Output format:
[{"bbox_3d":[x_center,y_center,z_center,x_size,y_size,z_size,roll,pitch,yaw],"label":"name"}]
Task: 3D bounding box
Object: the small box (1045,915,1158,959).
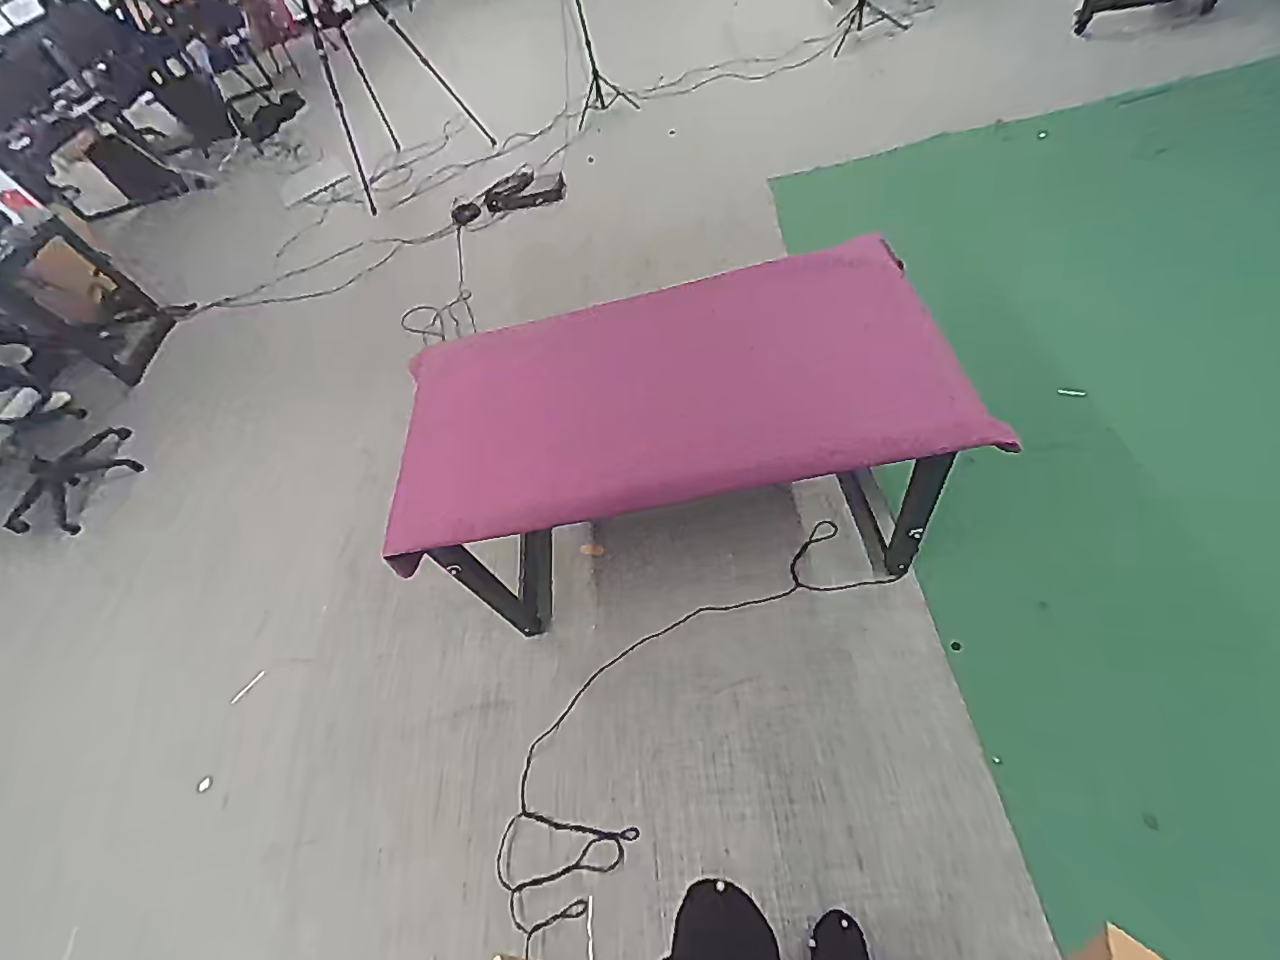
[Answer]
[{"bbox_3d":[0.520,0.631,0.562,0.168,0.176,0.179,28,27,29],"label":"small box"}]
